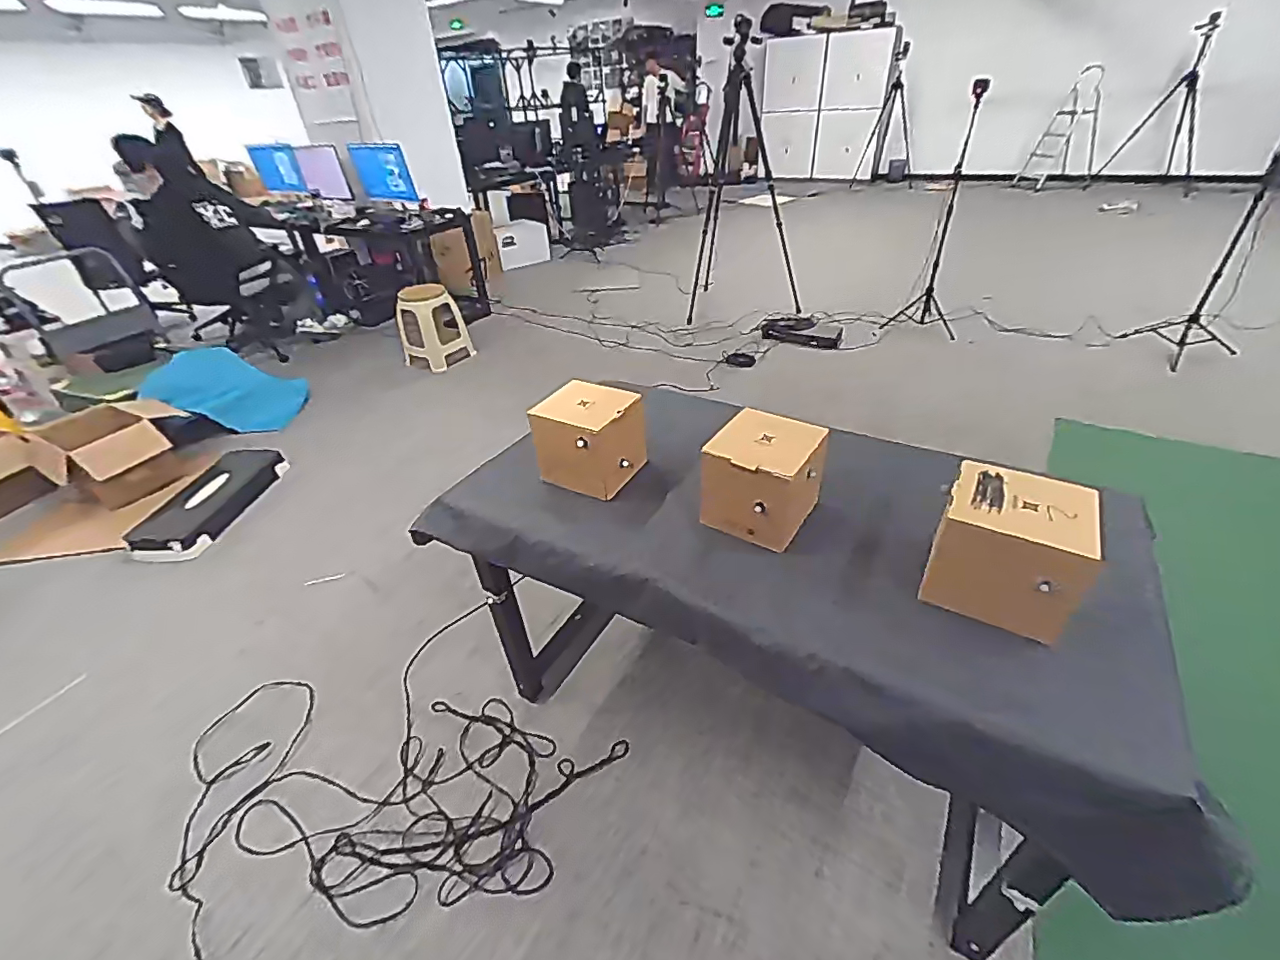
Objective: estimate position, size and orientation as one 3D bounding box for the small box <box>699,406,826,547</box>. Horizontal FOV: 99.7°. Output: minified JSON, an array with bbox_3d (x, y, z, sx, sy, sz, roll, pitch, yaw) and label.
[{"bbox_3d":[0.220,-0.008,0.984,0.168,0.176,0.179,21,42,28],"label":"small box"}]

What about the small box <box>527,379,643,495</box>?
[{"bbox_3d":[-0.107,-0.091,1.130,0.179,0.176,0.168,17,41,25],"label":"small box"}]
